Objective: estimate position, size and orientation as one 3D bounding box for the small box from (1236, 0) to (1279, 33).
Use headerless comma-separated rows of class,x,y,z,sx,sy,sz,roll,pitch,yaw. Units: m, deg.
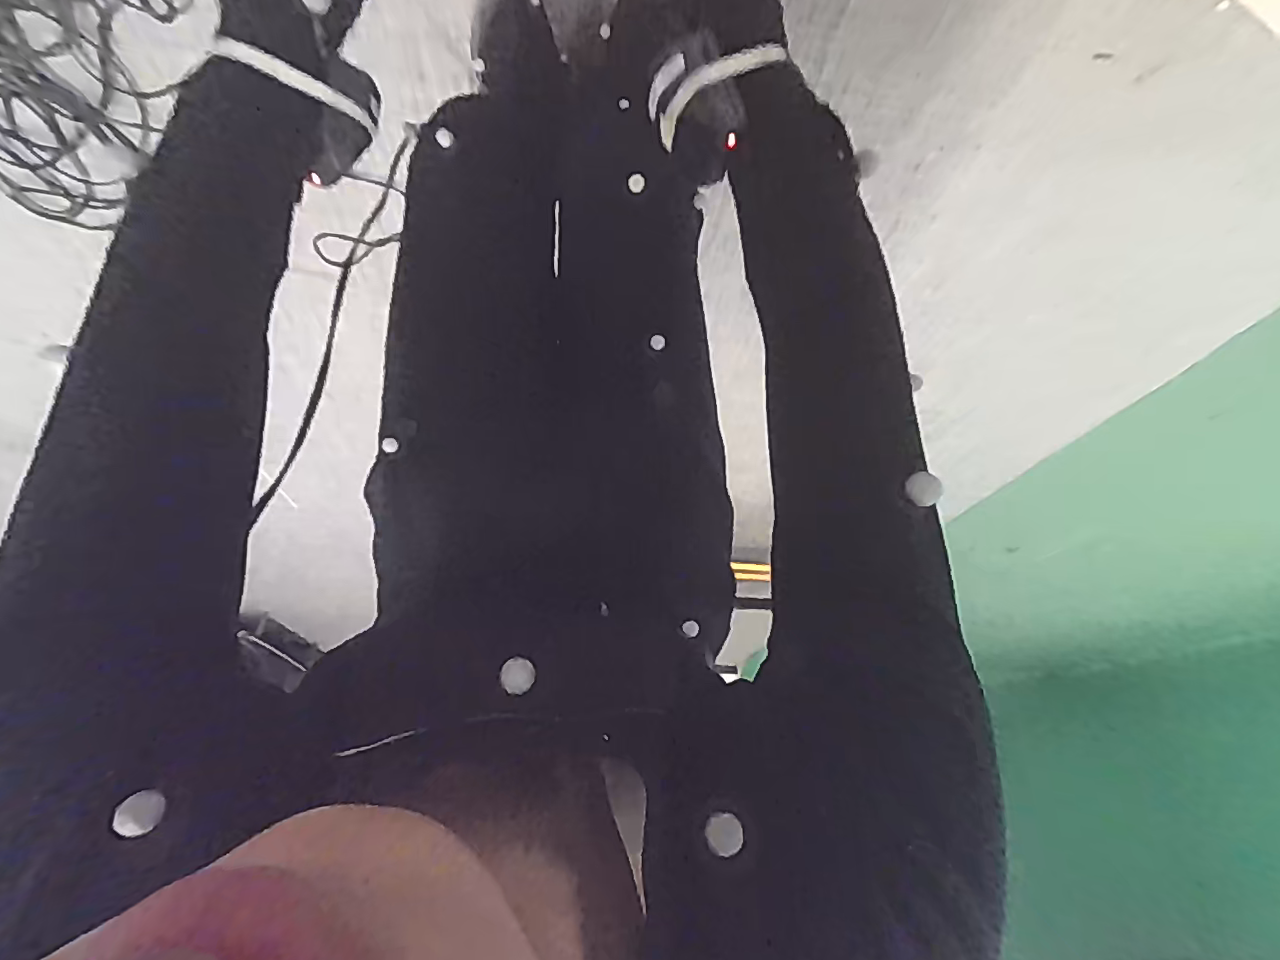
small box,0.710,-0.629,0.571,0.179,0.176,0.168,10,150,-20
